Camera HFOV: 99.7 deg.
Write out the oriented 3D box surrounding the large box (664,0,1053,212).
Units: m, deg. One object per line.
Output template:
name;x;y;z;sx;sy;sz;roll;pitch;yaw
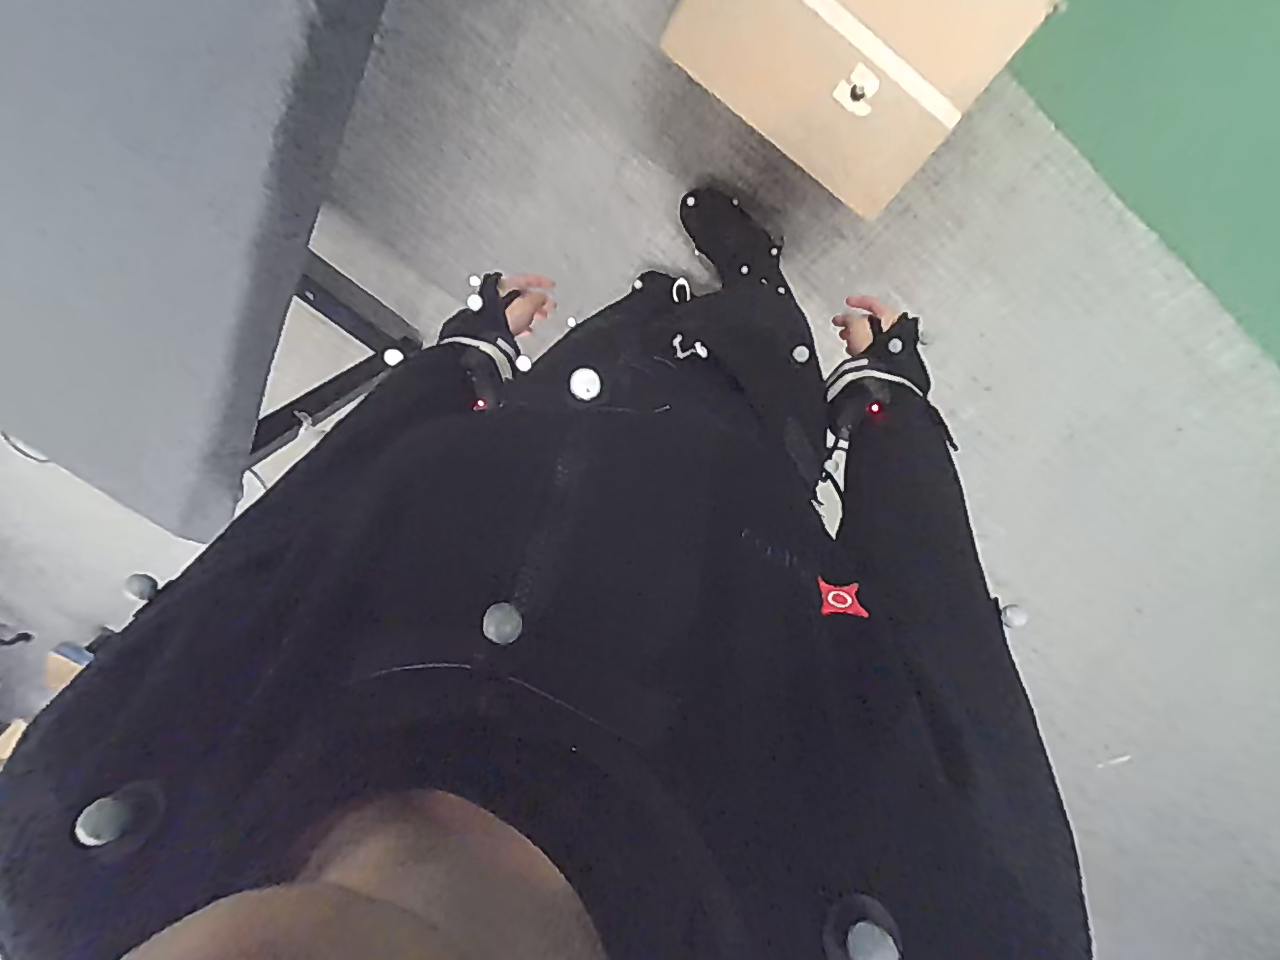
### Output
large box;0.297;-0.687;0.831;0.408;0.320;0.320;33;124;-10
